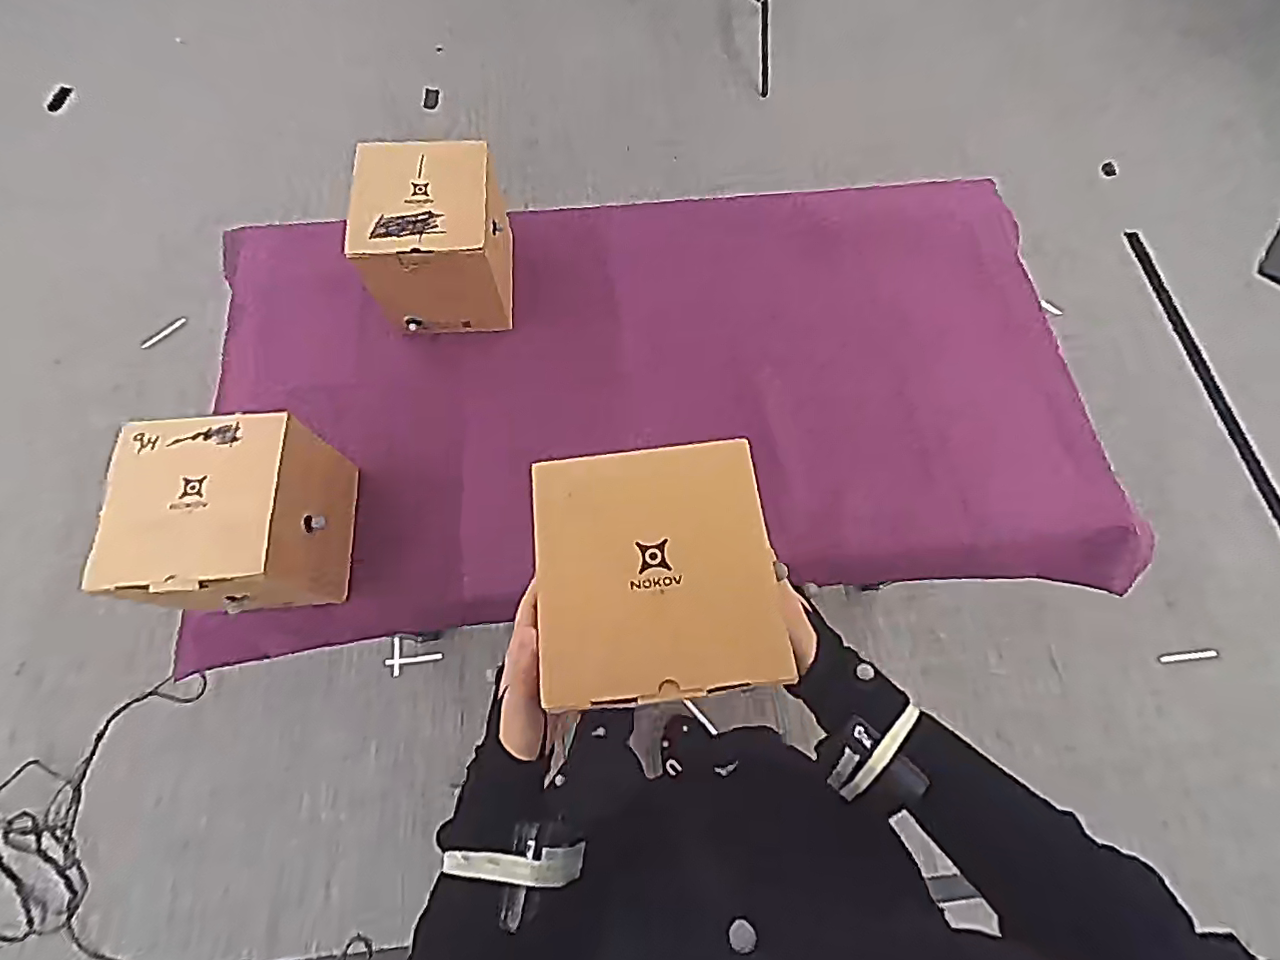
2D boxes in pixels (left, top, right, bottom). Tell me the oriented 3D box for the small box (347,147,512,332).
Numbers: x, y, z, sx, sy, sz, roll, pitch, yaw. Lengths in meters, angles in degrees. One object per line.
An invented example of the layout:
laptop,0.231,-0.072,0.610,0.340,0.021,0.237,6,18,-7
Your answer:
small box,-0.274,-0.317,0.744,0.168,0.176,0.179,-3,71,-3

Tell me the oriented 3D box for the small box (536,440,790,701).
small box,0.010,0.085,0.455,0.168,0.176,0.179,-6,69,-1

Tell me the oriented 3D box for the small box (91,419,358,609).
small box,-0.441,0.049,0.609,0.168,0.176,0.179,-4,71,-4
